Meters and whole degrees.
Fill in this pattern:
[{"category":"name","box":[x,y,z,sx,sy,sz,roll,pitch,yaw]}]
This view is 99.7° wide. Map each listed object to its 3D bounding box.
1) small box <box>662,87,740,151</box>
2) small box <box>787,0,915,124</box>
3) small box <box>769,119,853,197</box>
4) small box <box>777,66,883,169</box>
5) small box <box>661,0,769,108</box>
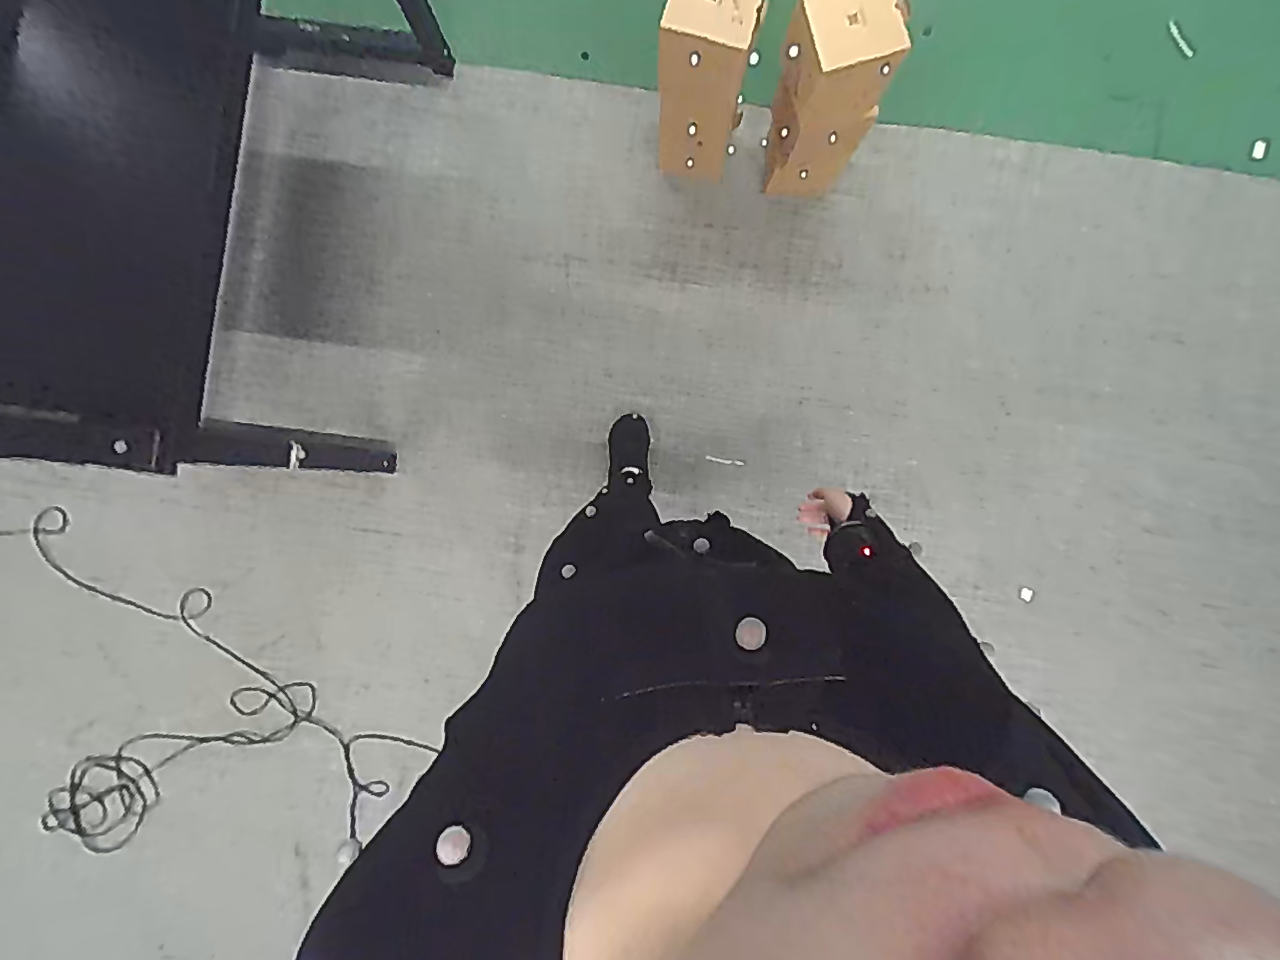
[{"category":"small box","box":[0.152,-0.903,1.250,0.168,0.176,0.179,15,90,2]},{"category":"small box","box":[0.408,-0.858,1.083,0.179,0.176,0.168,-16,90,0]},{"category":"small box","box":[0.438,-0.860,1.407,0.179,0.176,0.168,1,90,0]},{"category":"small box","box":[0.426,-0.851,1.246,0.179,0.176,0.168,-12,91,0]},{"category":"small box","box":[0.147,-0.893,1.083,0.179,0.176,0.168,18,90,2]}]
